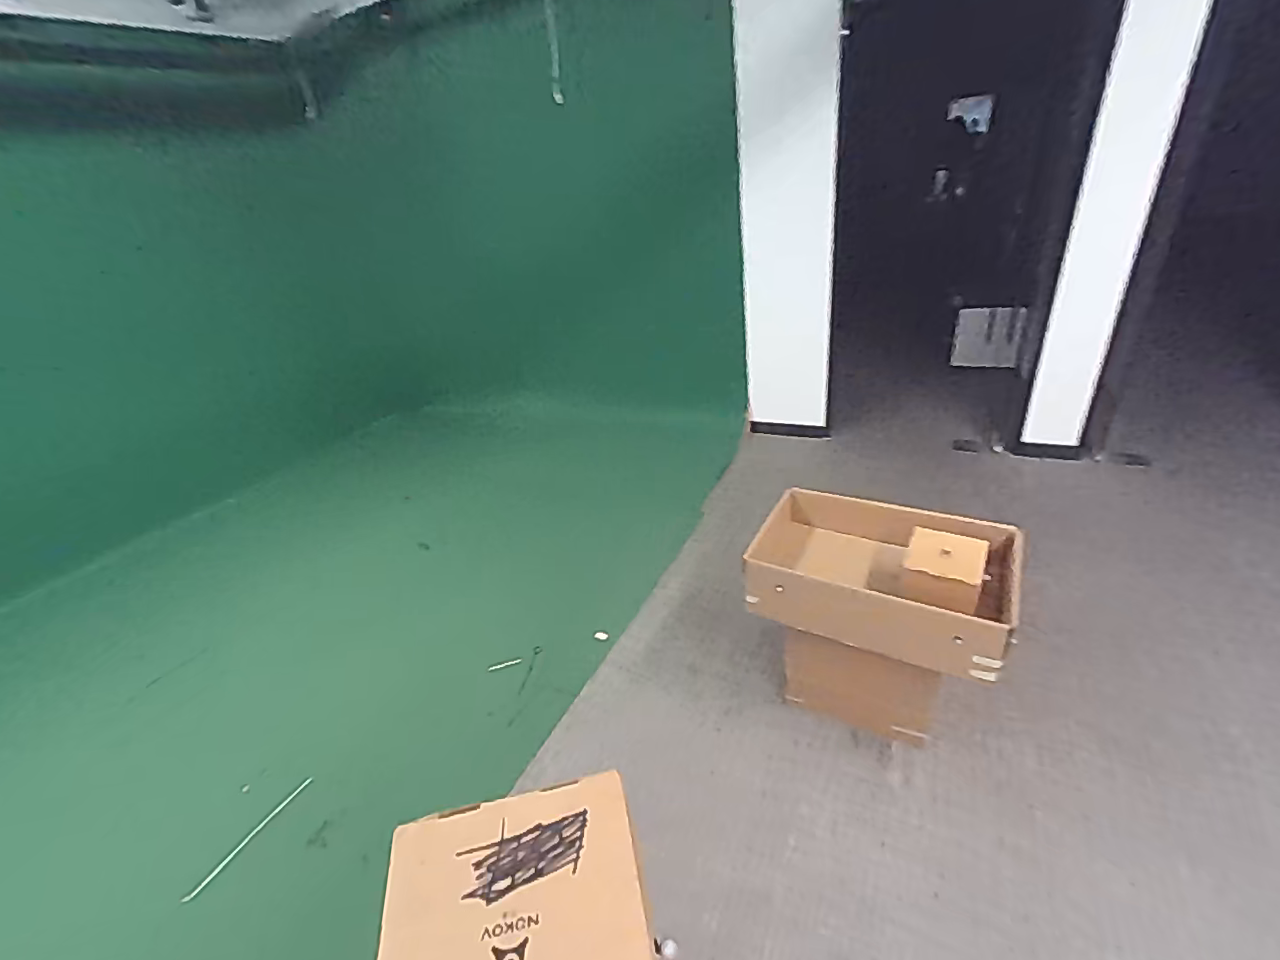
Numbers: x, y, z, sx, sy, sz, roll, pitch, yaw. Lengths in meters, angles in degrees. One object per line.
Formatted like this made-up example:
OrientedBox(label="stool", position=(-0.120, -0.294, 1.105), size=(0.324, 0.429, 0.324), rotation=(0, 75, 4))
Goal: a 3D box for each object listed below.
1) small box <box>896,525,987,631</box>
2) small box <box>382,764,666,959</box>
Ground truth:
OrientedBox(label="small box", position=(0.751, 0.242, 1.354), size=(0.168, 0.176, 0.179), rotation=(12, 37, 32))
OrientedBox(label="small box", position=(-0.069, 0.342, 0.383), size=(0.168, 0.176, 0.179), rotation=(-12, 39, -5))
